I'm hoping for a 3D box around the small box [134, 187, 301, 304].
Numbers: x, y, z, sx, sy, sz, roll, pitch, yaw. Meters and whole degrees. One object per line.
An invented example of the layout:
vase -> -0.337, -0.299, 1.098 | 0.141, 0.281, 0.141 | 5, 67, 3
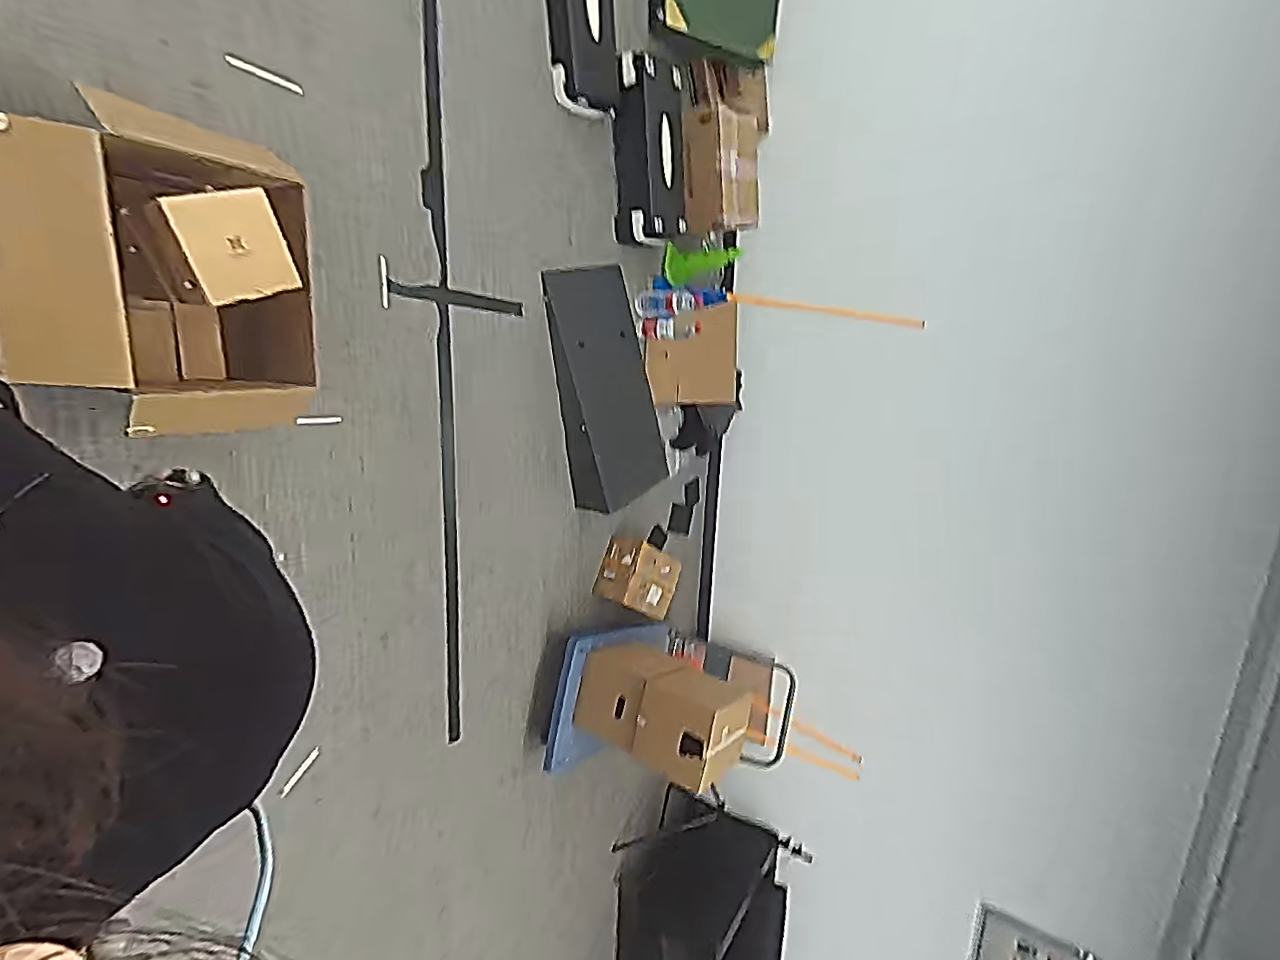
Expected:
small box -> -0.789, -0.437, 1.013 | 0.168, 0.176, 0.179 | -39, 133, -42
